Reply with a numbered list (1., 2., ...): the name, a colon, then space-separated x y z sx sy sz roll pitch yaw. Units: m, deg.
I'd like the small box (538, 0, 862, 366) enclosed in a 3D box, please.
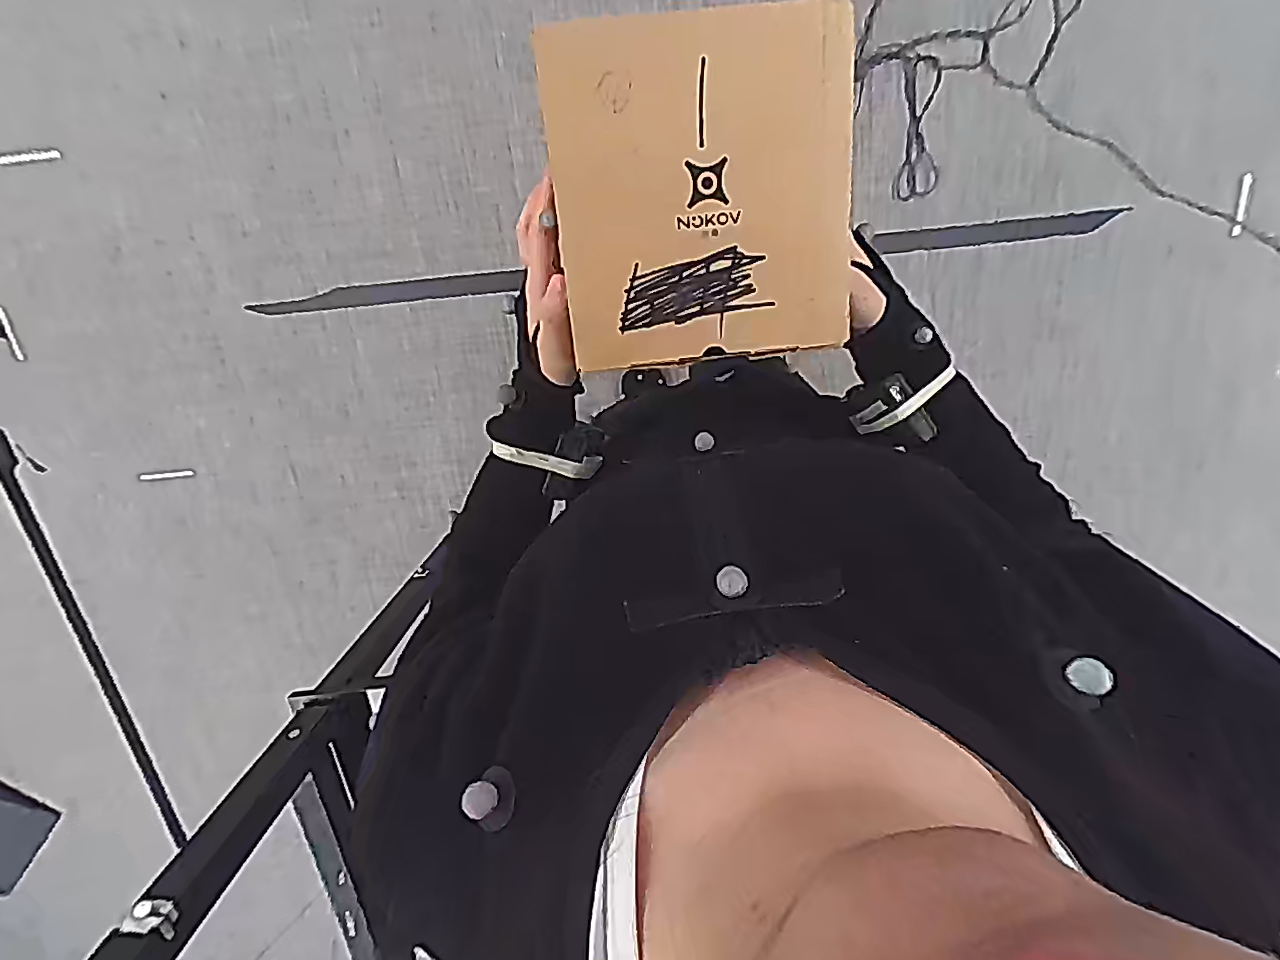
1. small box: 0.032 -0.184 0.371 0.168 0.176 0.179 -7 109 -3
